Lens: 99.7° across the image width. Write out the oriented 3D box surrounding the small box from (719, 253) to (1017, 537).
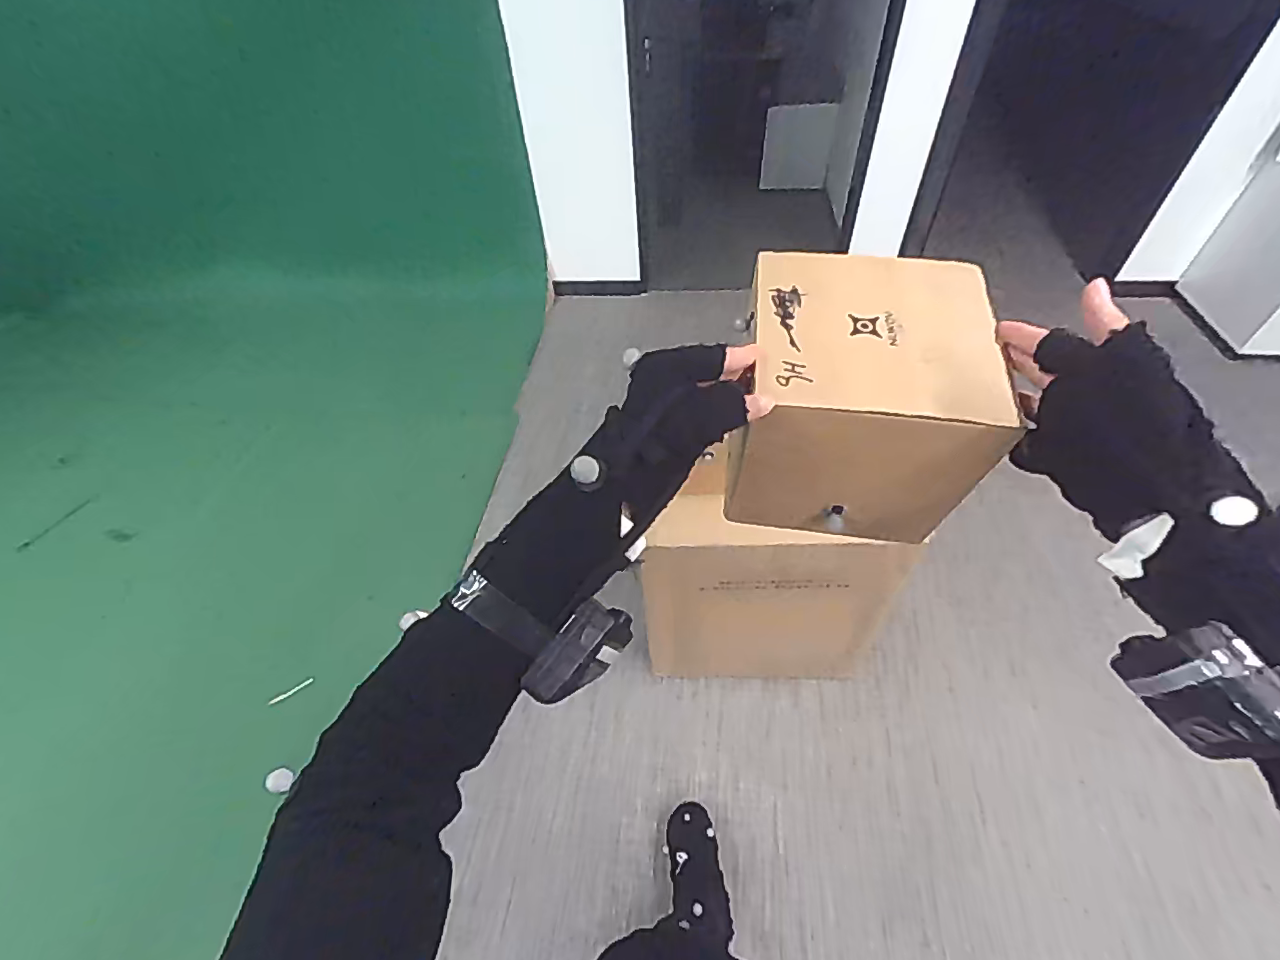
[{"bbox_3d":[0.172,-0.065,0.467,0.179,0.176,0.168,7,56,4],"label":"small box"}]
